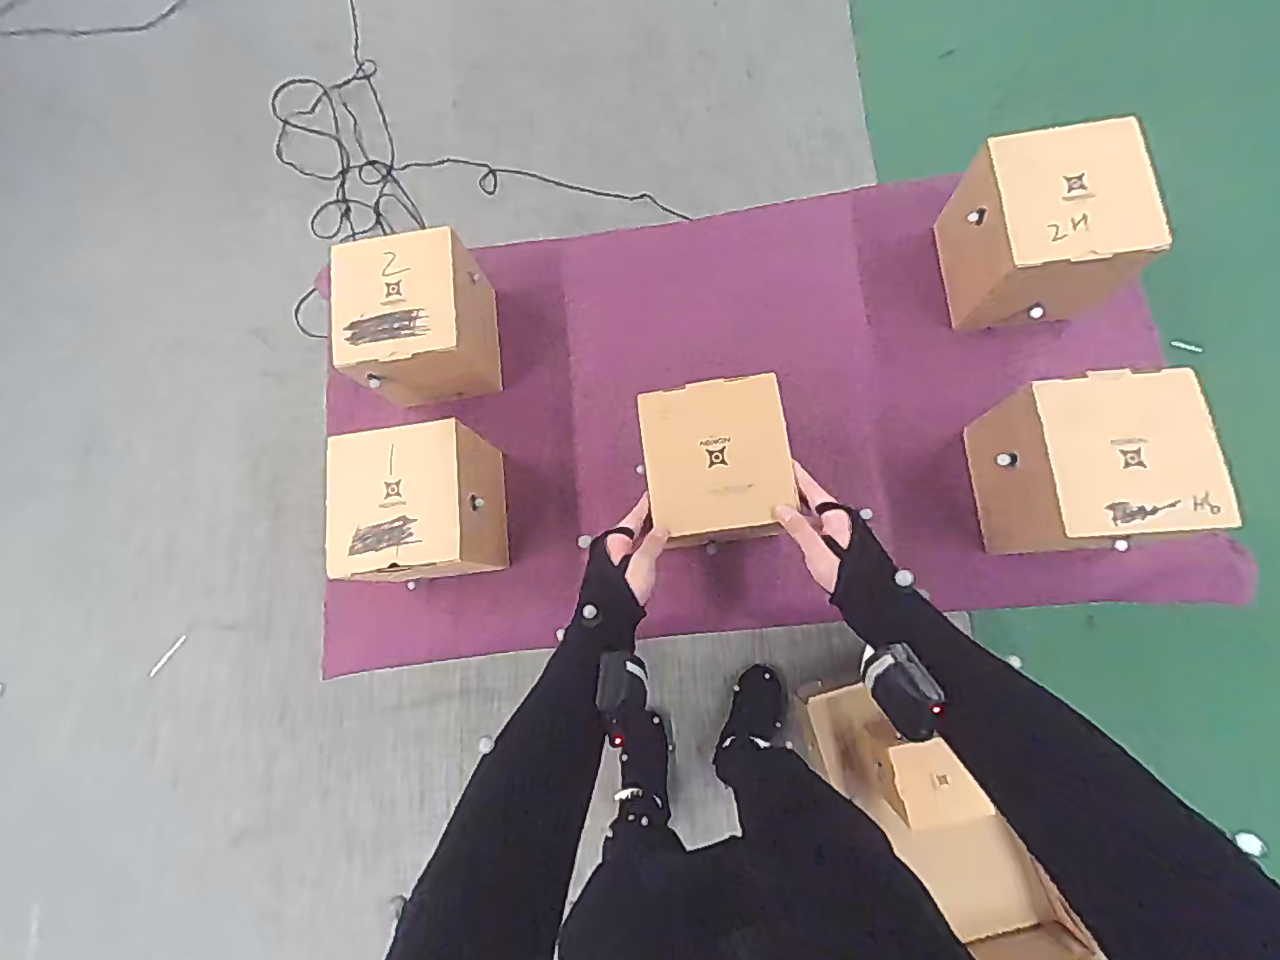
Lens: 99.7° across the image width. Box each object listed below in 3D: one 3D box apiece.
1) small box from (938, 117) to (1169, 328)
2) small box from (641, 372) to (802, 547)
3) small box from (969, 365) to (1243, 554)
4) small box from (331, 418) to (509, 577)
[{"bbox_3d":[0.515,-0.322,0.706,0.168,0.176,0.179,-5,79,8],"label":"small box"},{"bbox_3d":[0.098,-0.016,0.693,0.168,0.176,0.179,-8,77,6],"label":"small box"},{"bbox_3d":[0.522,-0.014,0.641,0.168,0.176,0.179,-5,75,7],"label":"small box"},{"bbox_3d":[-0.281,0.034,0.723,0.168,0.176,0.179,-8,76,4],"label":"small box"}]
